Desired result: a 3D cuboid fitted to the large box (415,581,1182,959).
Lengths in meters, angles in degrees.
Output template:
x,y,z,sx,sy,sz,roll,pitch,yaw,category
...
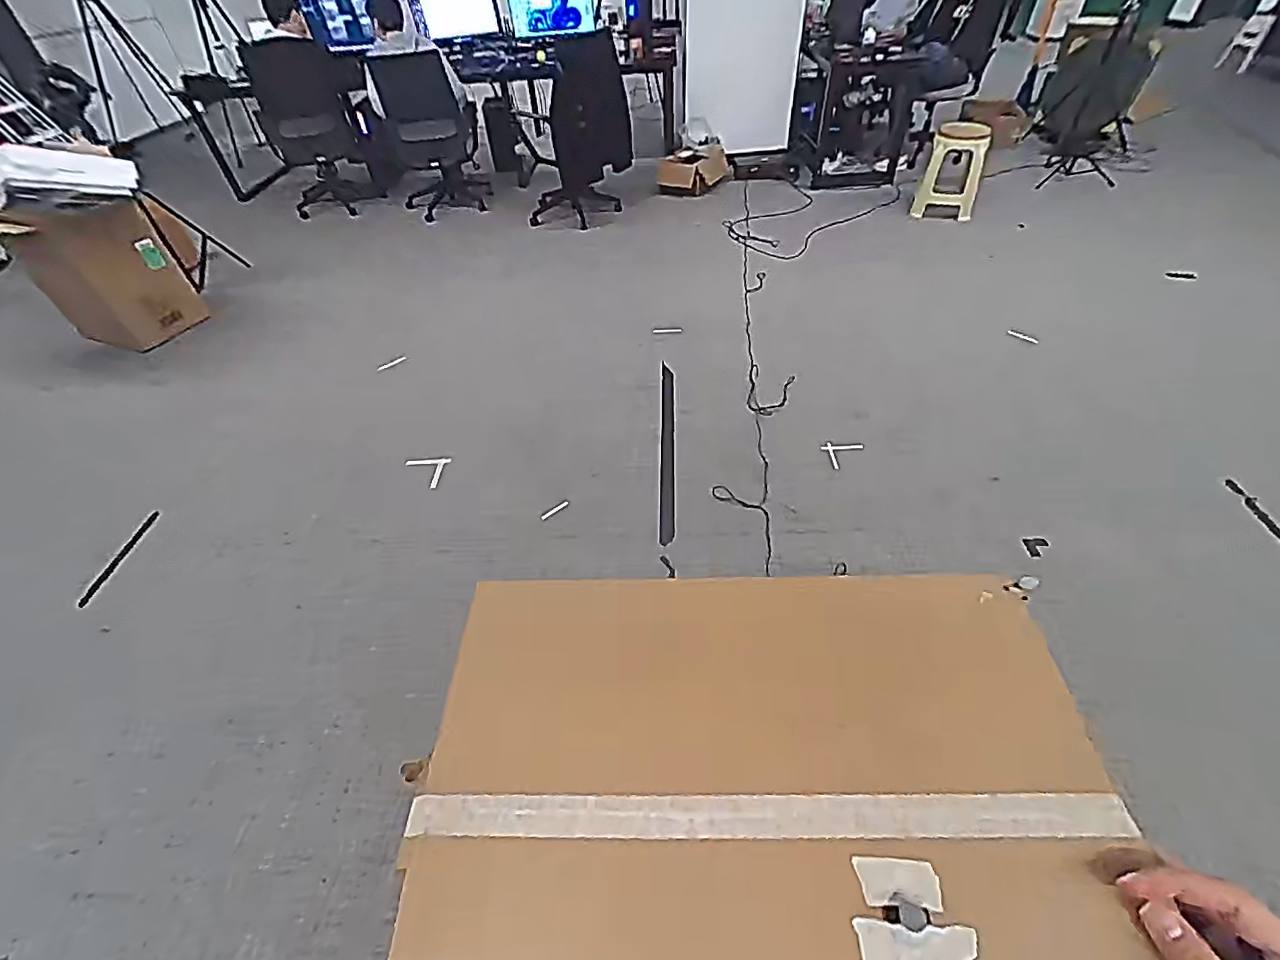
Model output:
x,y,z,sx,sy,sz,roll,pitch,yaw,category
0.082,0.297,0.435,0.408,0.320,0.320,-1,51,2,large box
